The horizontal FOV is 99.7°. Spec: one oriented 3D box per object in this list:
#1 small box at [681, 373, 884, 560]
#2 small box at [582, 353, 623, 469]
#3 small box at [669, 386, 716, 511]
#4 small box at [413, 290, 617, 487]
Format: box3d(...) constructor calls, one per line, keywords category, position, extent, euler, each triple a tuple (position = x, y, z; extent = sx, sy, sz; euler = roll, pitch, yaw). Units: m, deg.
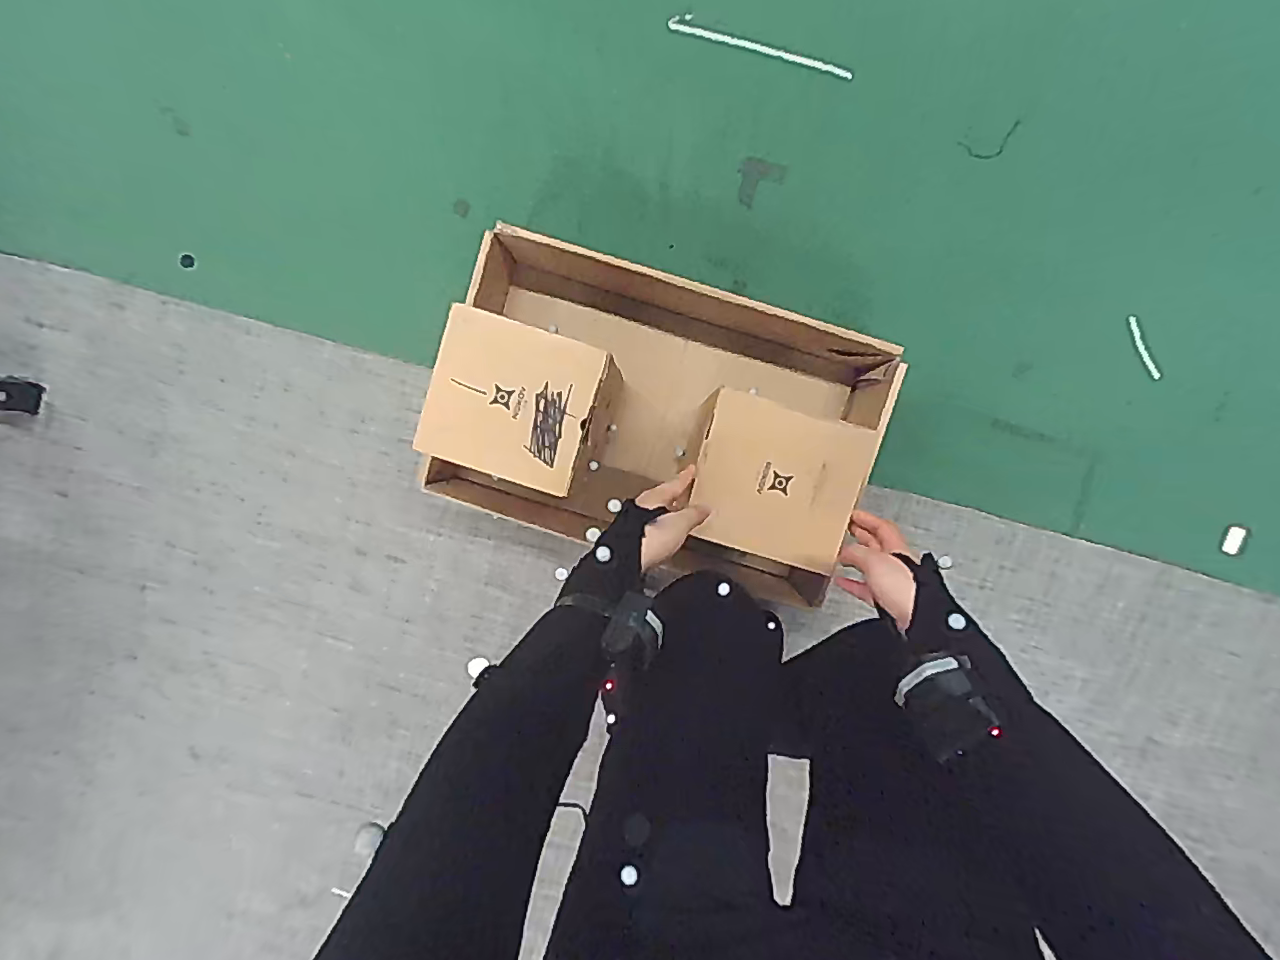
box3d(category="small box", position=(0.153, -0.020, 0.653), extent=(0.179, 0.176, 0.168), euler=(15, 97, -1))
box3d(category="small box", position=(-0.131, -0.122, 0.810), extent=(0.179, 0.176, 0.168), euler=(16, 96, -2))
box3d(category="small box", position=(0.149, -0.029, 0.817), extent=(0.168, 0.176, 0.179), euler=(18, 97, 0))
box3d(category="small box", position=(-0.133, -0.103, 0.646), extent=(0.179, 0.176, 0.168), euler=(18, 95, 0))
